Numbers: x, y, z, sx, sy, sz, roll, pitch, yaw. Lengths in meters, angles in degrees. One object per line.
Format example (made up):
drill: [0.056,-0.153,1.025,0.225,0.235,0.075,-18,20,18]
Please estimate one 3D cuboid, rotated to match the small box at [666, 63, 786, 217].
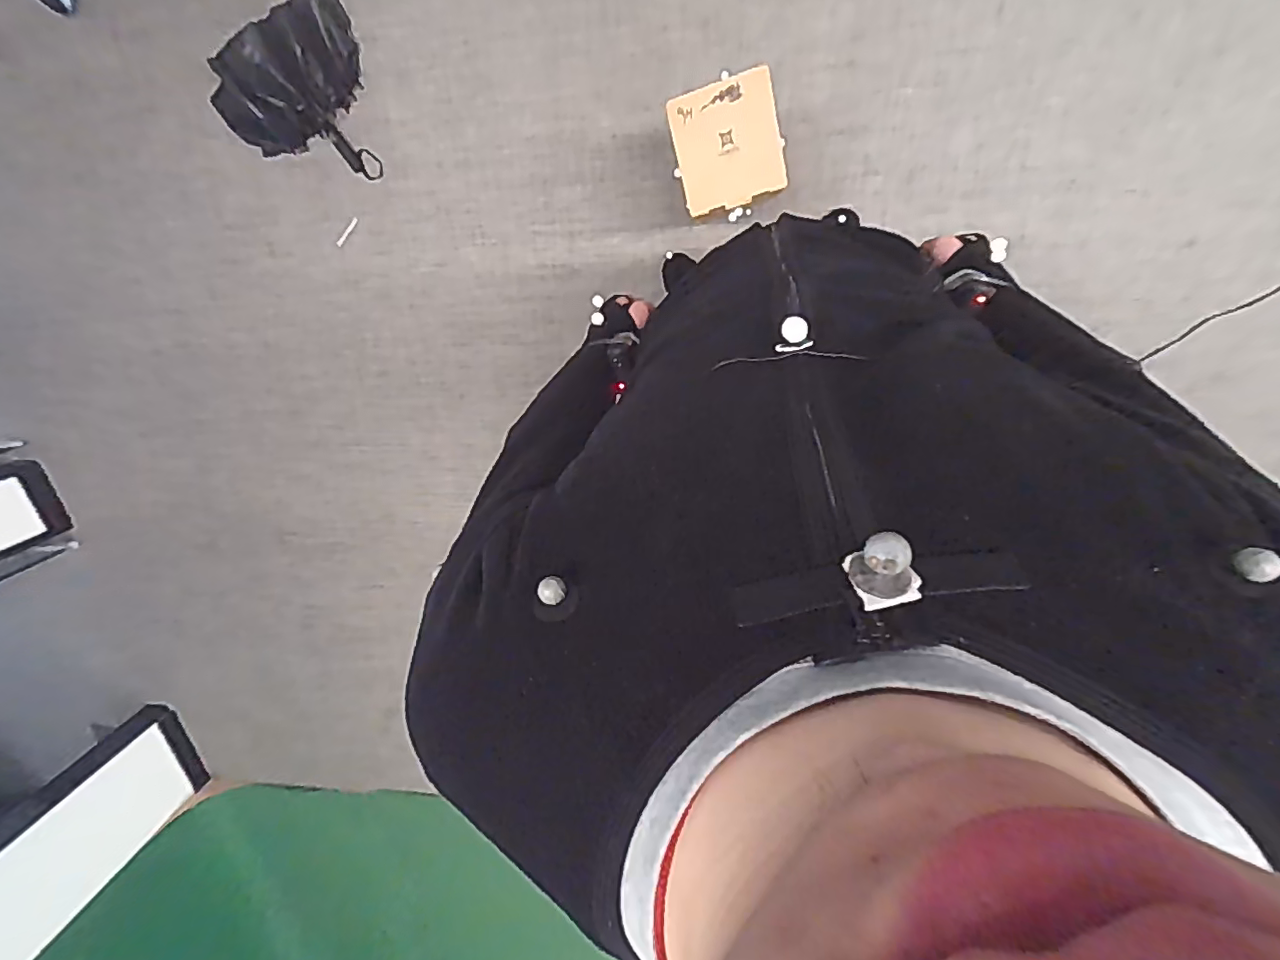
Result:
small box: [0.153,-0.572,0.934,0.168,0.176,0.179,-11,113,14]
